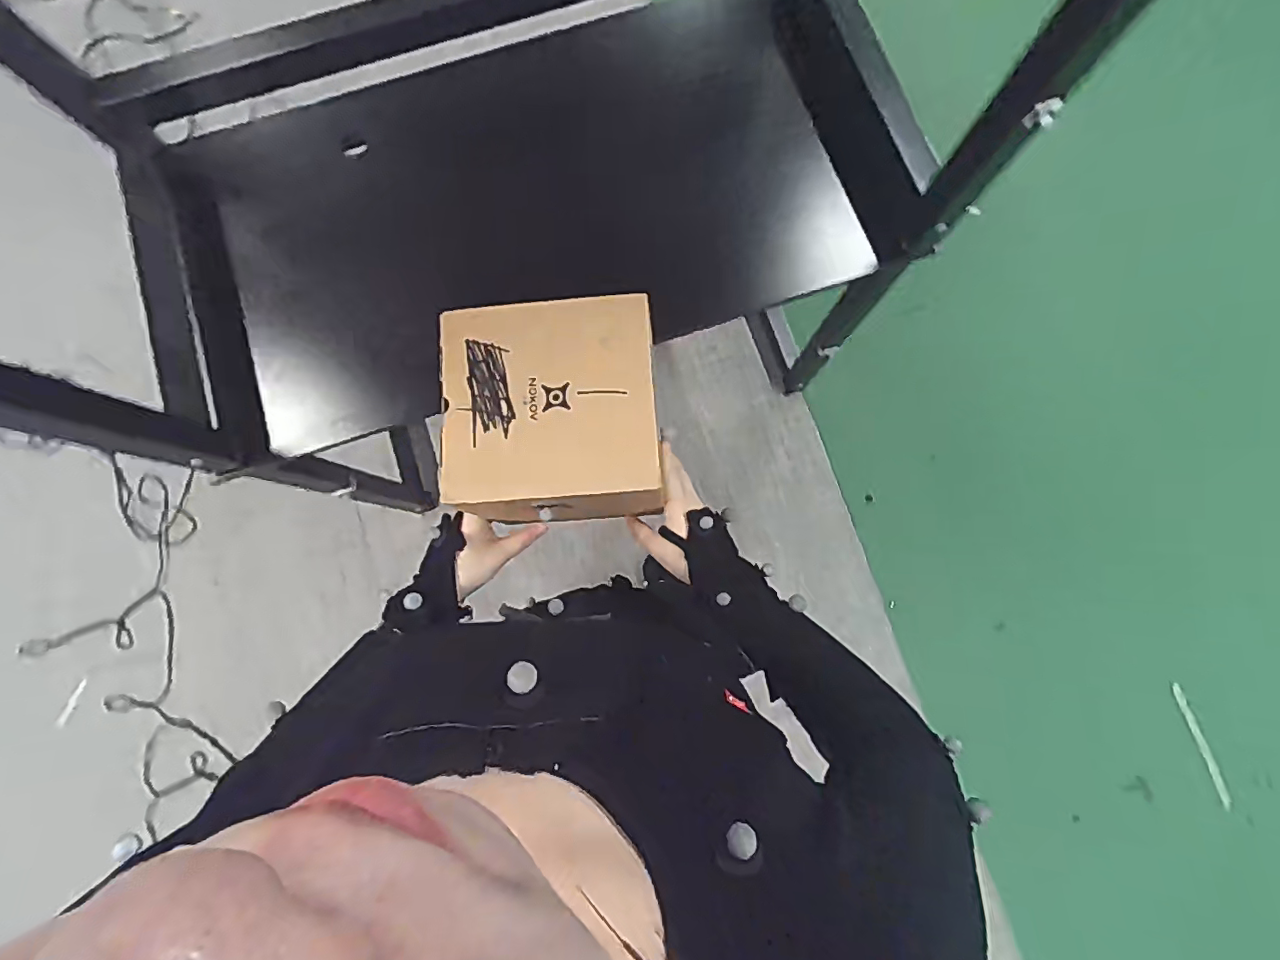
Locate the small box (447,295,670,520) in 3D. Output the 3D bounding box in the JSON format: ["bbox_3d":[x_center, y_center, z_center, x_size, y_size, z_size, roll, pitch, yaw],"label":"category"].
[{"bbox_3d":[-0.063,-0.054,0.512,0.179,0.176,0.168,-3,80,3],"label":"small box"}]
